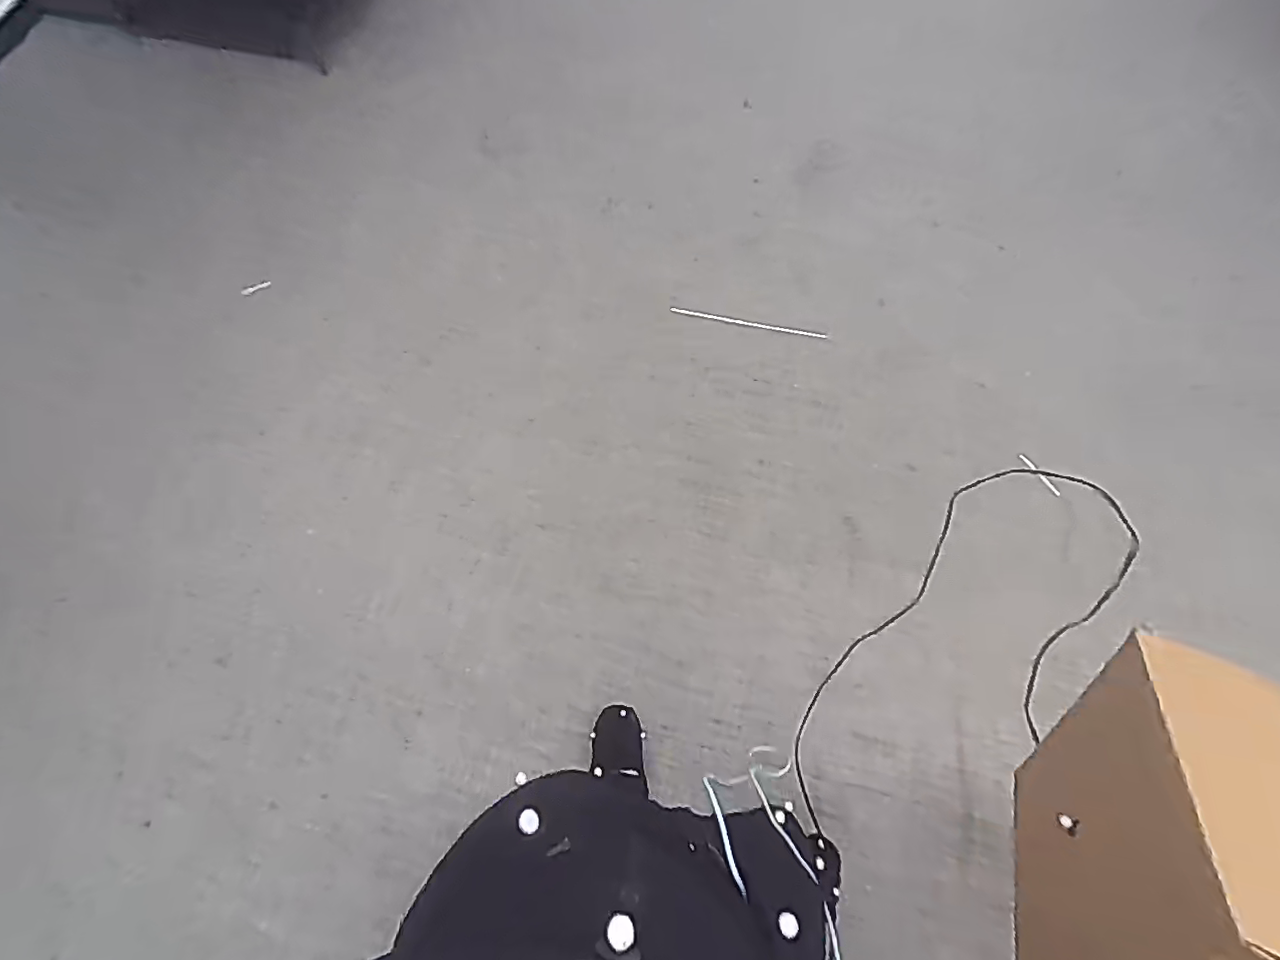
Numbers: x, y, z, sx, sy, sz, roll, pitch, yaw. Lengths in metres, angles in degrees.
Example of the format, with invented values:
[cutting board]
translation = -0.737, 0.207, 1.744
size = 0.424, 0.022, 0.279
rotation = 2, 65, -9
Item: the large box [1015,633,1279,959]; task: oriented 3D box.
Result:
[large box]
translation = 0.629, 0.449, 0.552
size = 0.320, 0.320, 0.408
rotation = 26, 32, 22
